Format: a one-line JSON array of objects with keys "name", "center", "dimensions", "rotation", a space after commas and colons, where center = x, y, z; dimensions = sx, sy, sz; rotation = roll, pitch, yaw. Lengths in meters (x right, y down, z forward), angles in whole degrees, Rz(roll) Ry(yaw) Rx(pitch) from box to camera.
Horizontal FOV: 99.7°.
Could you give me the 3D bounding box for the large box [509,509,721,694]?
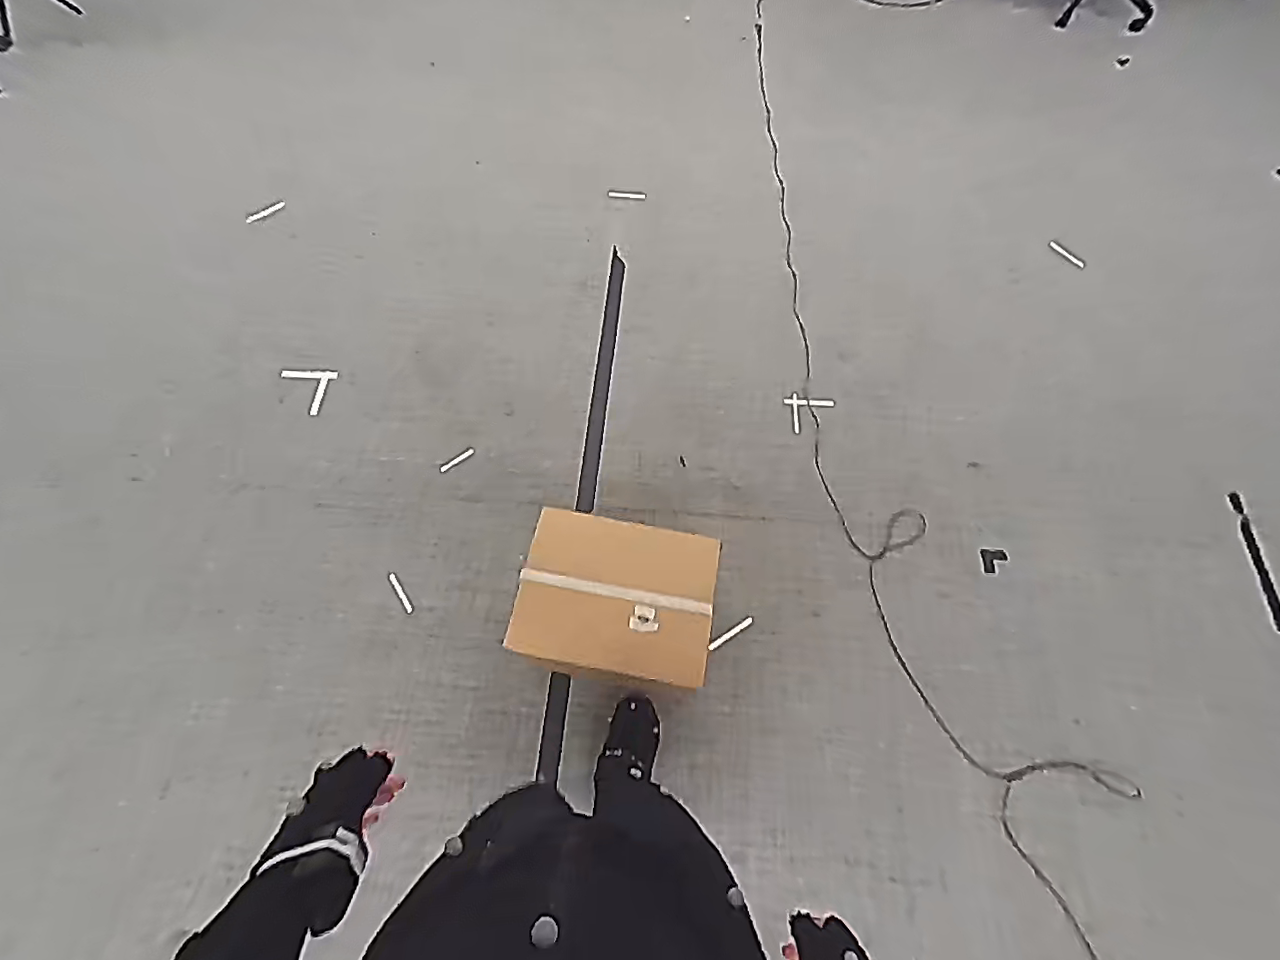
[{"name": "large box", "center": [-0.049, 0.295, 1.268], "dimensions": [0.408, 0.320, 0.320], "rotation": [11, 65, 4]}]
